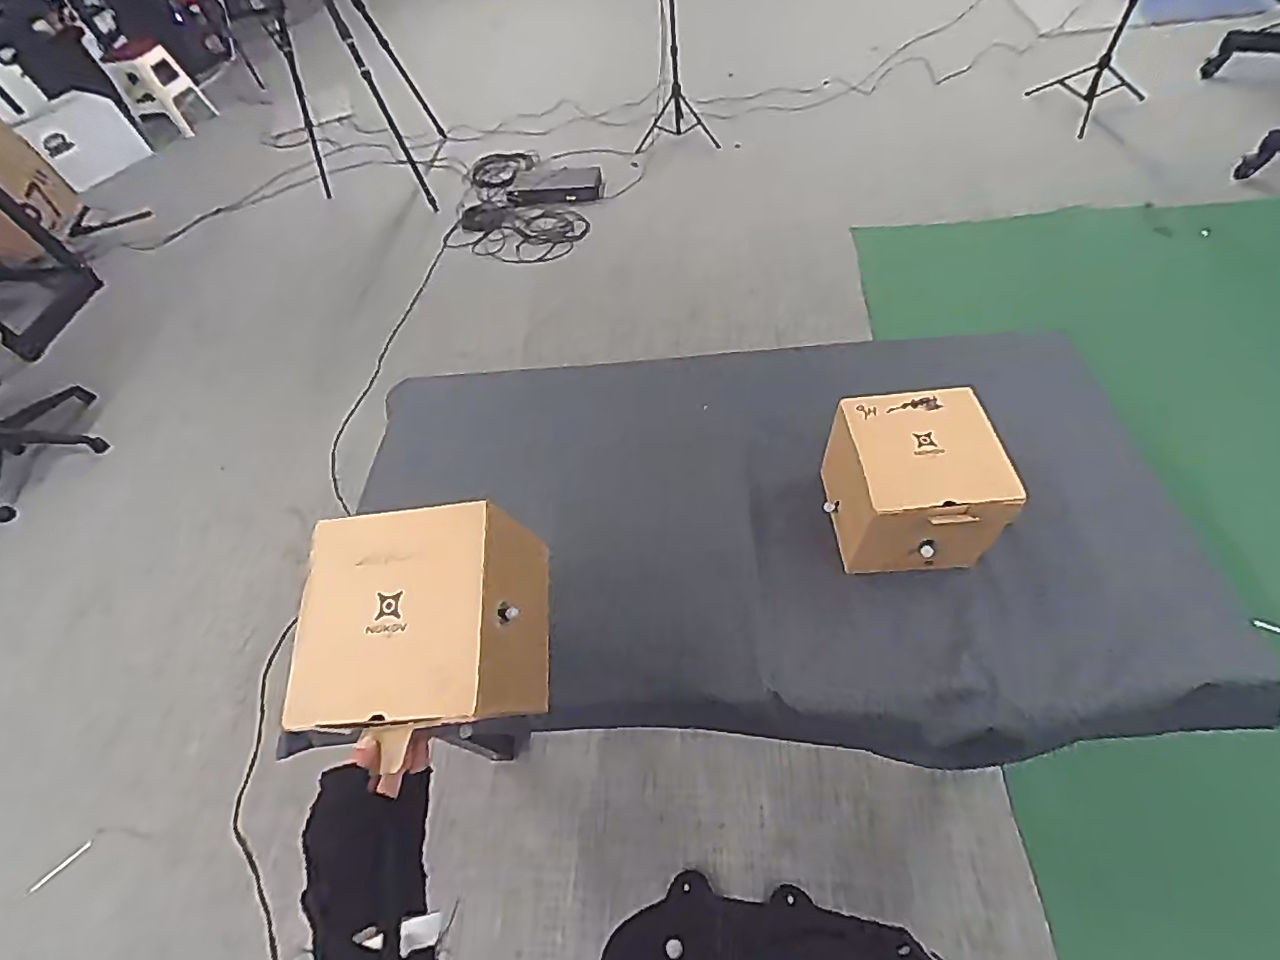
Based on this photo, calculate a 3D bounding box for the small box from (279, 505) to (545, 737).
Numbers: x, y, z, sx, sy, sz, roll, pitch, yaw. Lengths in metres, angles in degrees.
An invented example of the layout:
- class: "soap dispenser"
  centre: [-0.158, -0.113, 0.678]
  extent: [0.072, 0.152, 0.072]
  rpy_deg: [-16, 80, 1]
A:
- class: "small box"
  centre: [-0.193, 0.138, 0.514]
  extent: [0.168, 0.176, 0.179]
  rpy_deg: [-7, 67, 7]
